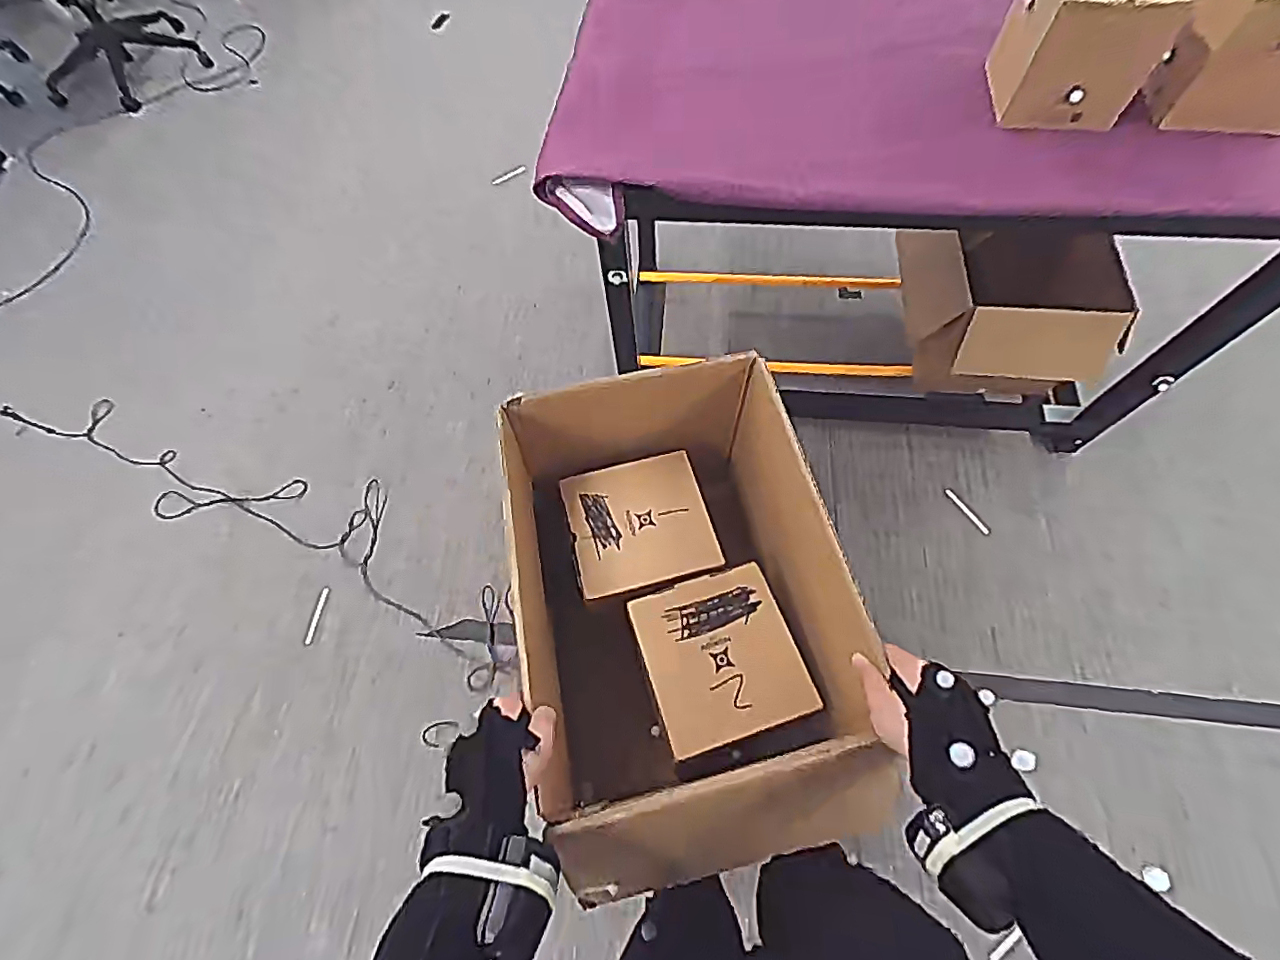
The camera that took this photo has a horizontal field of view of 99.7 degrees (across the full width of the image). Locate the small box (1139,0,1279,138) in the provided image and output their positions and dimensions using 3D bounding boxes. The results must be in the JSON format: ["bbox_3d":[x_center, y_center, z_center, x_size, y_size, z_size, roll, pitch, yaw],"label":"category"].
[{"bbox_3d":[0.894,-0.633,0.790,0.179,0.176,0.168,8,65,8],"label":"small box"}]

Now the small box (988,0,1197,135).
[{"bbox_3d":[0.656,-0.659,0.814,0.168,0.176,0.179,6,65,7],"label":"small box"}]
